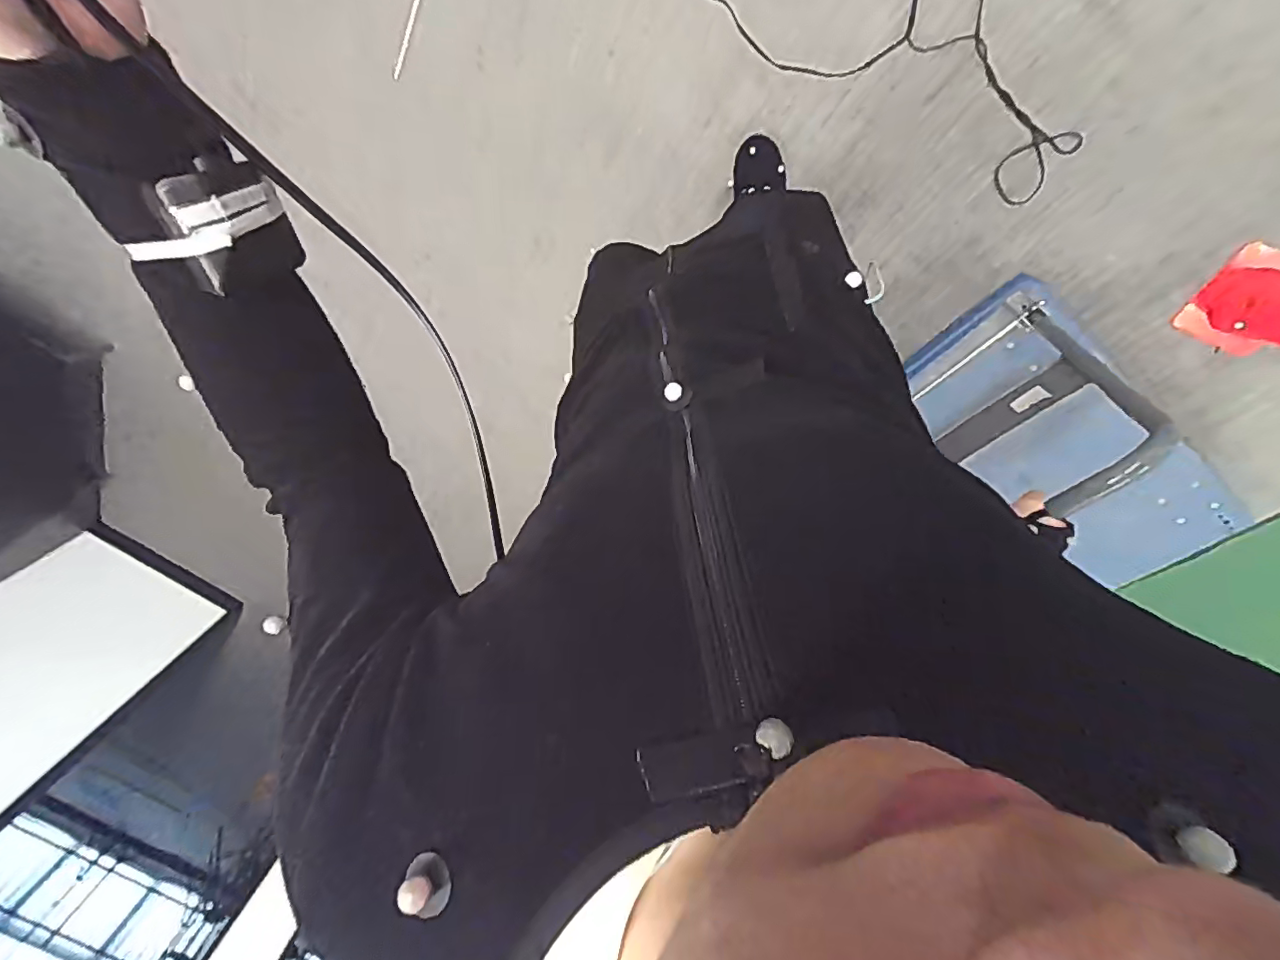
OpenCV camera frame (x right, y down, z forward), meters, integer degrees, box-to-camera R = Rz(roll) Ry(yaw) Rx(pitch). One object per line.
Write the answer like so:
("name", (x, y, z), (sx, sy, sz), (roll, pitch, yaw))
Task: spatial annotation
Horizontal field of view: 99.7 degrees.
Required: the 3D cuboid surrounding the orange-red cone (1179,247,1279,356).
("orange-red cone", (1.319, -0.298, 1.058), (0.198, 0.360, 0.199), (23, 125, -1))
